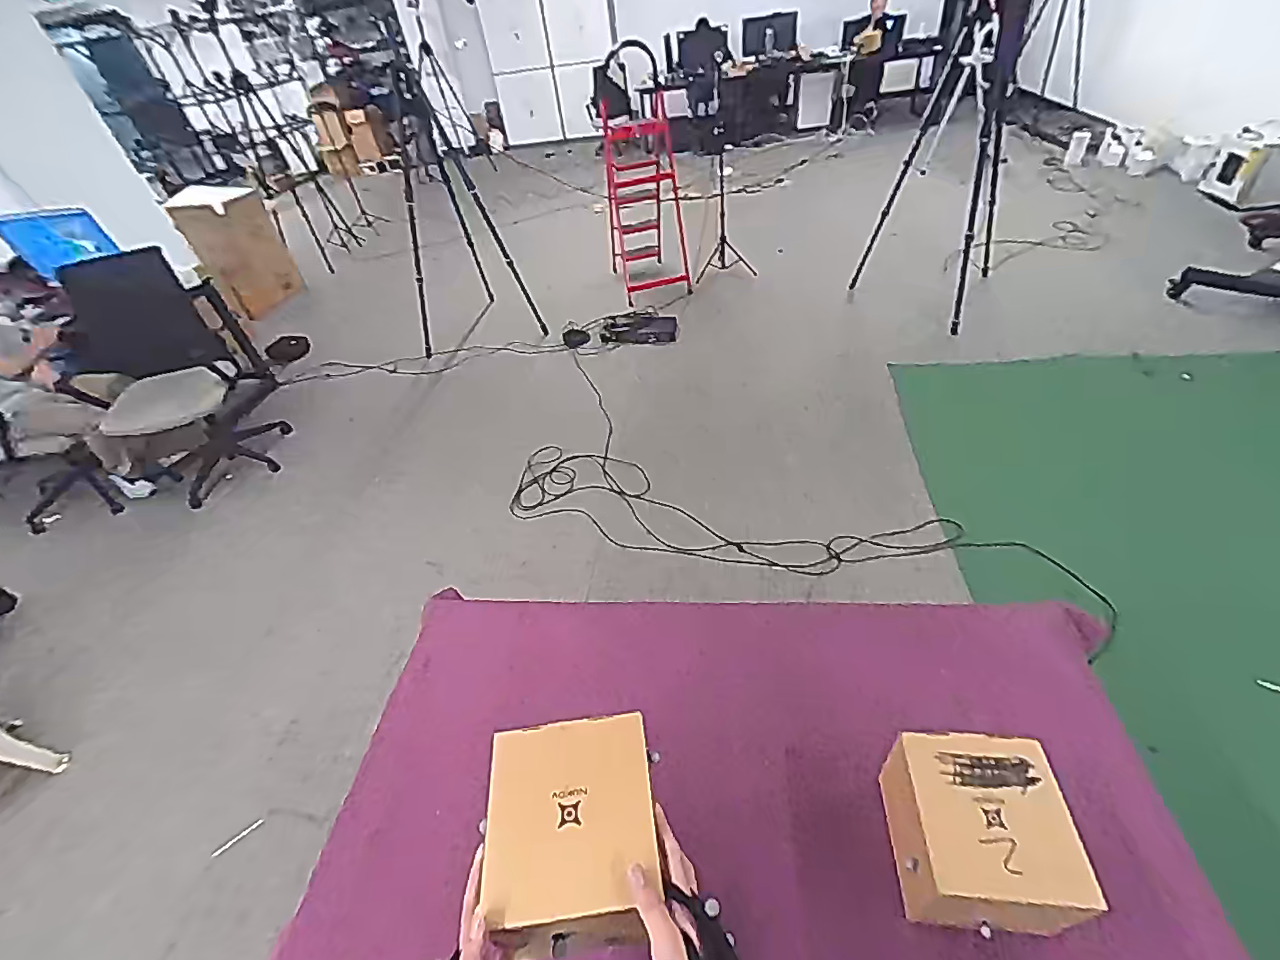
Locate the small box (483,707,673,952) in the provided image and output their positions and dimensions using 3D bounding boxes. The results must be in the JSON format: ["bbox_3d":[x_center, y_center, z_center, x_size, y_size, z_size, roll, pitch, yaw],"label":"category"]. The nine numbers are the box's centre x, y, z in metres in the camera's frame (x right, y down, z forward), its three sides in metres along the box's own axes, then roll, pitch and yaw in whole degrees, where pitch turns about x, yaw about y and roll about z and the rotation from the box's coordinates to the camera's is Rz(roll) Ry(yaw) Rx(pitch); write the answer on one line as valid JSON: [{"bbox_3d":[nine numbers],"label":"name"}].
[{"bbox_3d":[-0.059,0.376,0.580,0.168,0.176,0.179,-8,40,-3],"label":"small box"}]
